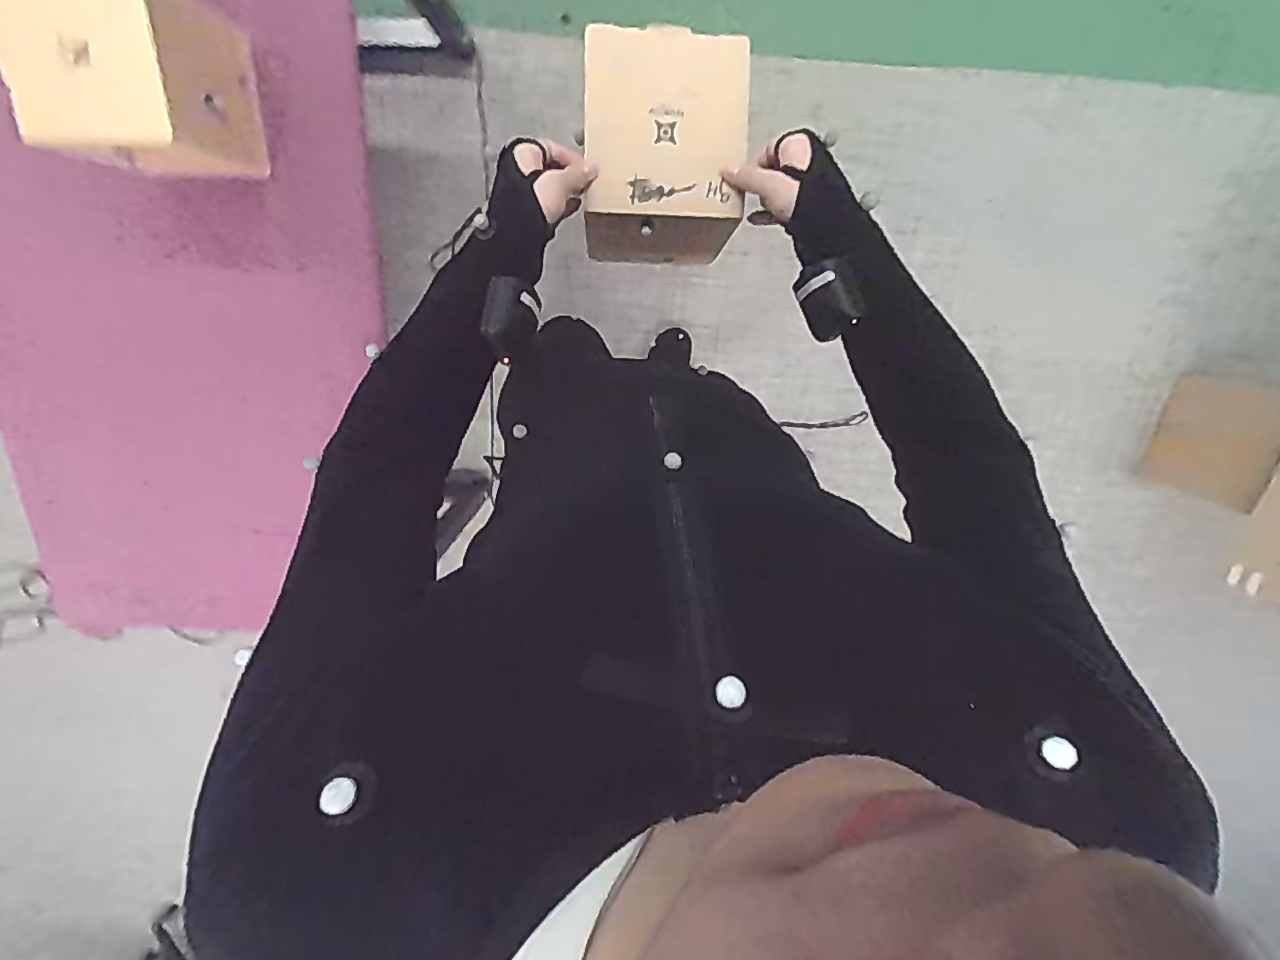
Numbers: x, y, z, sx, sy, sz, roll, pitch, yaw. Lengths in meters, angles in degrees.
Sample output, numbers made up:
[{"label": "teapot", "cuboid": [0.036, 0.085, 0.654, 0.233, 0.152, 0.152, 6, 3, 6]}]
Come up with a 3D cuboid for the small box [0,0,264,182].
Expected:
[{"label": "small box", "cuboid": [-0.599, -0.473, 0.659, 0.179, 0.176, 0.168, 2, 109, 2]}]

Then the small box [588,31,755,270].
[{"label": "small box", "cuboid": [0.025, -0.360, 0.623, 0.168, 0.176, 0.179, 2, 97, -5]}]
